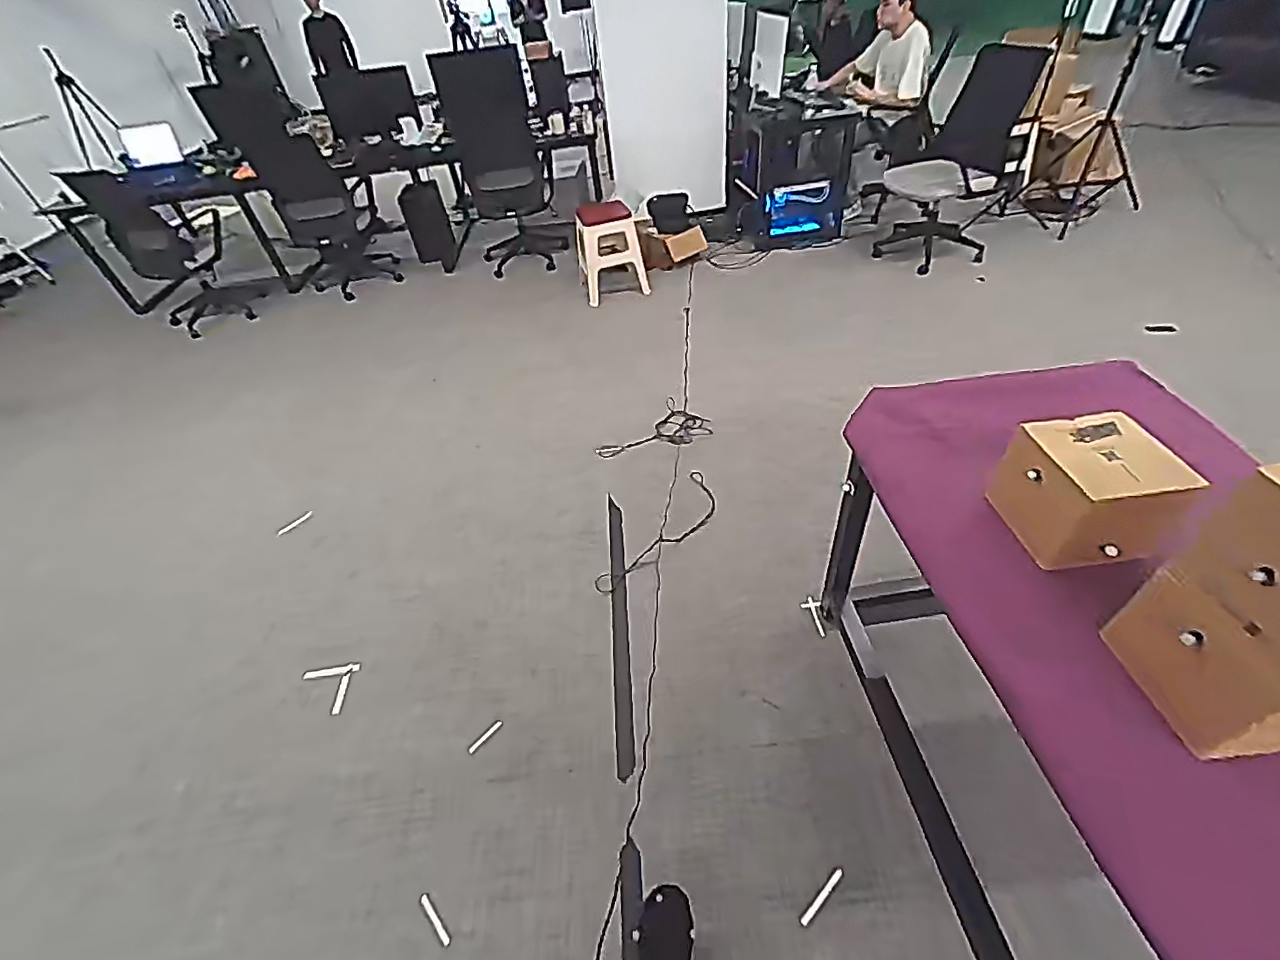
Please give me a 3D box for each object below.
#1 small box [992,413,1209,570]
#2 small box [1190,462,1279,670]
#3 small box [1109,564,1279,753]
[{"bbox_3d":[0.709,0.019,0.864,0.168,0.176,0.179,-8,44,1],"label":"small box"},{"bbox_3d":[0.731,0.089,0.549,0.179,0.176,0.168,-7,43,1],"label":"small box"},{"bbox_3d":[0.742,0.213,0.657,0.168,0.176,0.179,-7,43,1],"label":"small box"}]
